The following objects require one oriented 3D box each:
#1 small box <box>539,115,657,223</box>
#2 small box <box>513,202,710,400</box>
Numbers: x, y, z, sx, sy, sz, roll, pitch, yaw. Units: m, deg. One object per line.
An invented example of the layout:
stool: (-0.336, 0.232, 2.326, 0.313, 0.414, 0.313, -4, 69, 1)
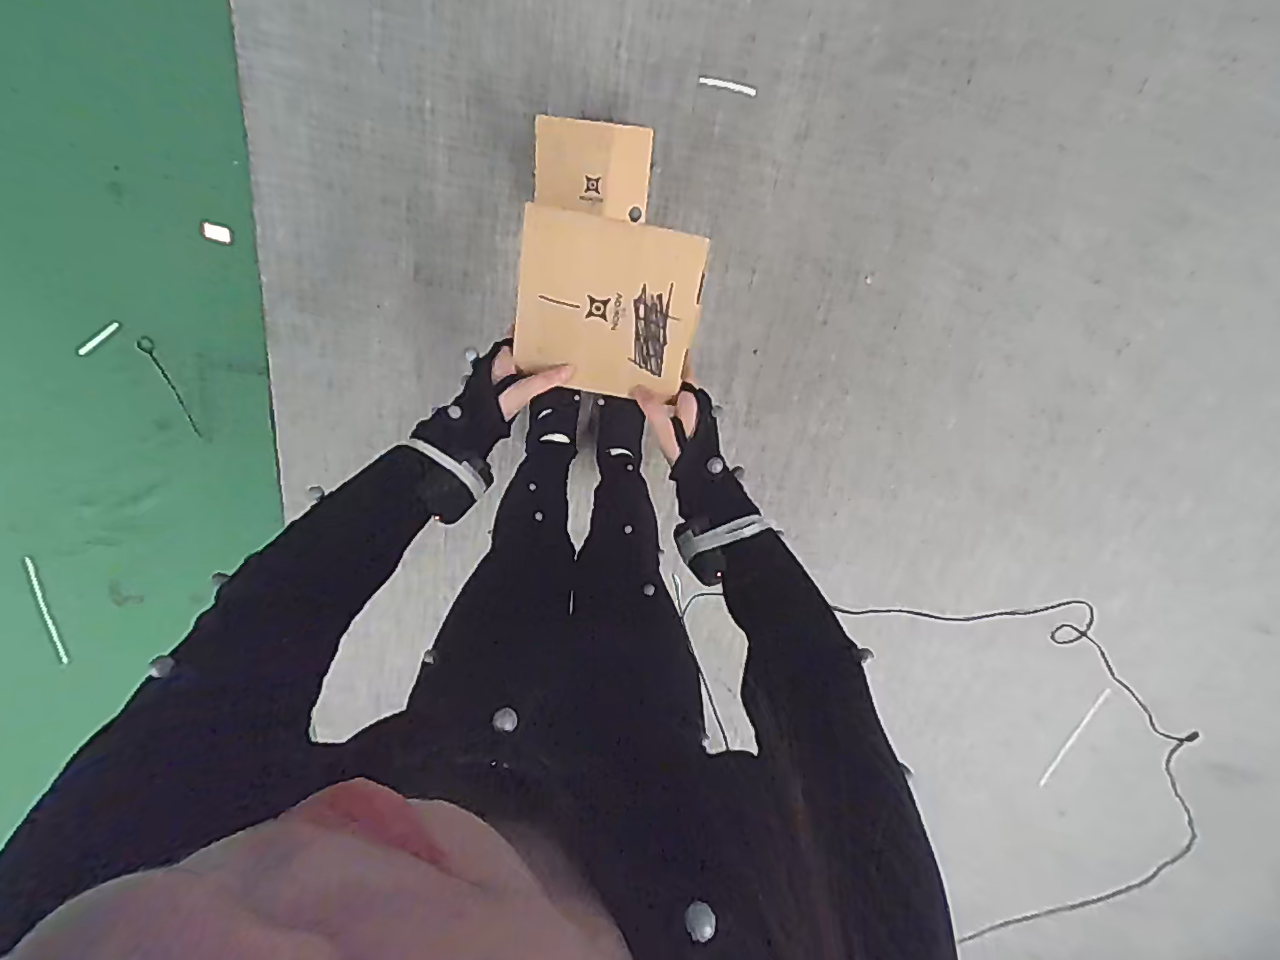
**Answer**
small box: (-0.069, -0.458, 0.863, 0.168, 0.176, 0.179, 5, 117, -4)
small box: (-0.032, -0.204, 0.608, 0.179, 0.176, 0.168, 10, 114, -3)
